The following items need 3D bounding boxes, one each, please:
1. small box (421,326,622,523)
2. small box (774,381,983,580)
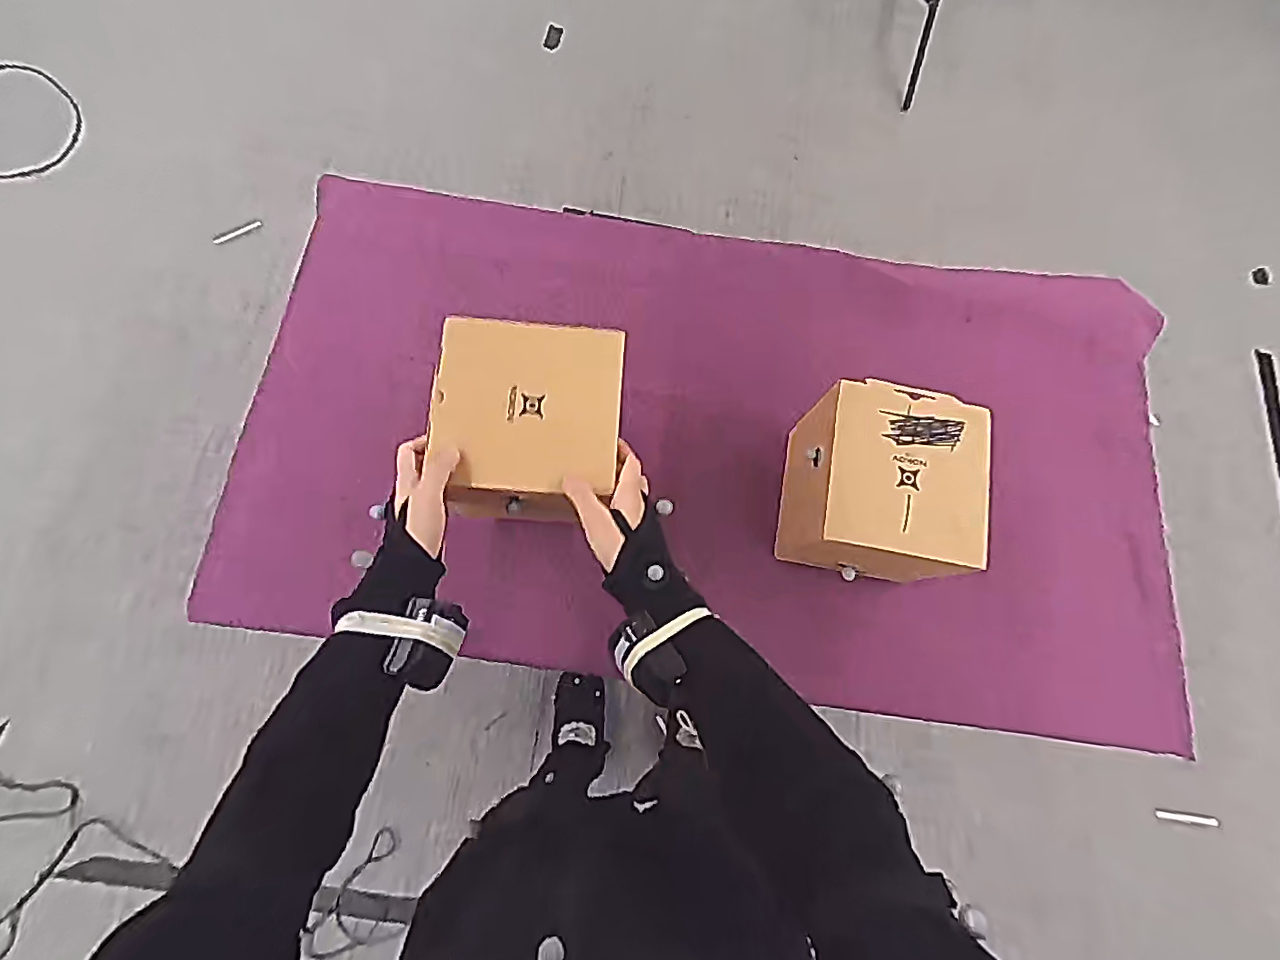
[{"bbox_3d":[-0.115,-0.047,0.593,0.179,0.176,0.168,4,77,-3],"label":"small box"},{"bbox_3d":[0.266,0.012,0.634,0.168,0.176,0.179,11,75,0],"label":"small box"}]
